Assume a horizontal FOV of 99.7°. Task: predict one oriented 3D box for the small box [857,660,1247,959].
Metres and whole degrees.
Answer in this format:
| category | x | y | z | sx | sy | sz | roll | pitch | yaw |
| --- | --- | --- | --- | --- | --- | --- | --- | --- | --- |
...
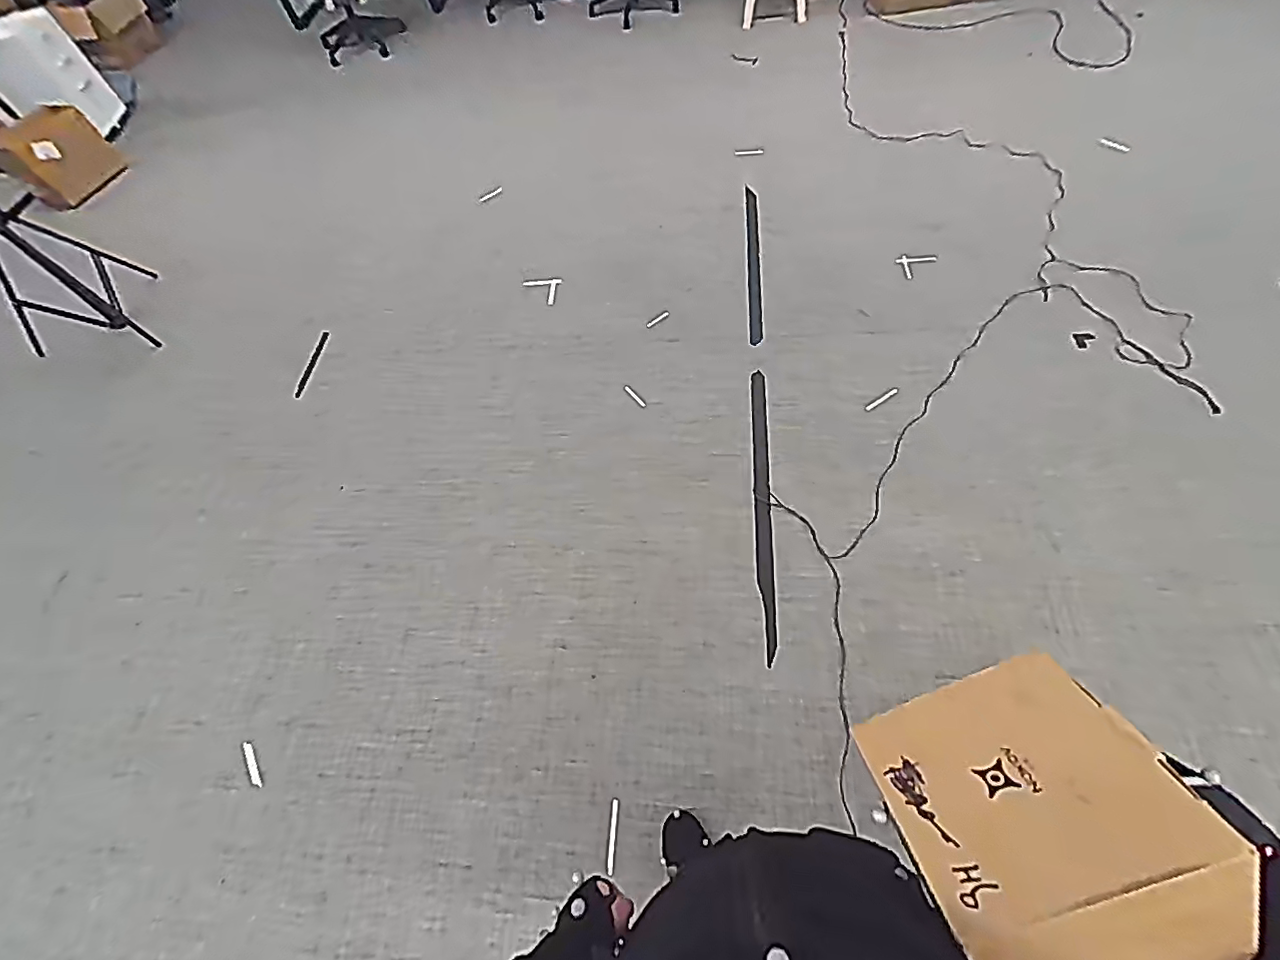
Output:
| category | x | y | z | sx | sy | sz | roll | pitch | yaw |
| --- | --- | --- | --- | --- | --- | --- | --- | --- | --- |
| small box | 0.308 | 0.287 | 0.432 | 0.179 | 0.176 | 0.168 | -25 | 22 | 7 |
